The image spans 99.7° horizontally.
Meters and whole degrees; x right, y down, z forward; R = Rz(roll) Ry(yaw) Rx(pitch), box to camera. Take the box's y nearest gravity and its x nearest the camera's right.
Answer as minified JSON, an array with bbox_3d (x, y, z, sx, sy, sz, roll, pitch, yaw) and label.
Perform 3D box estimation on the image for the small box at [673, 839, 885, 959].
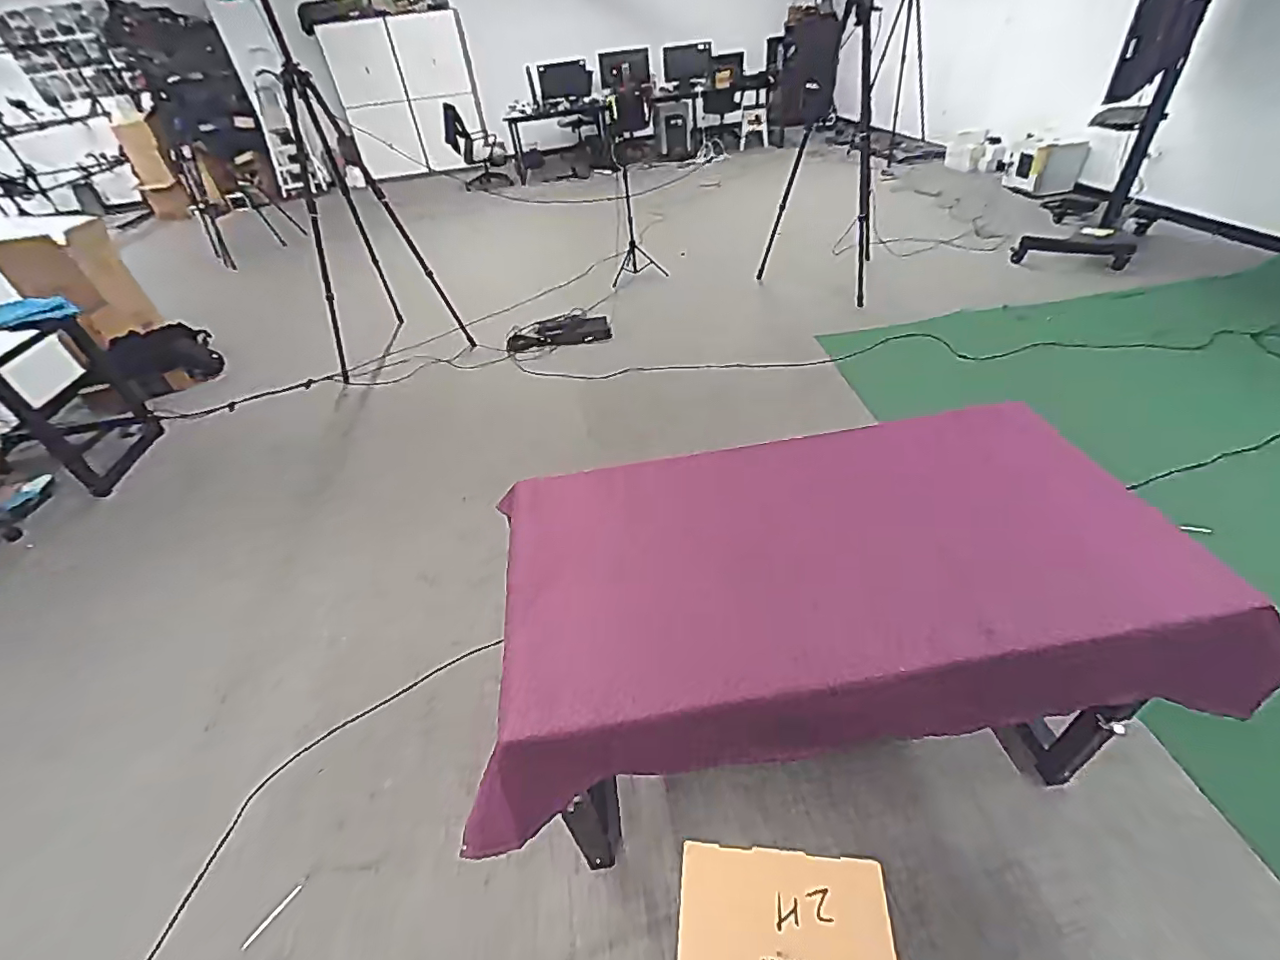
[{"bbox_3d":[0.118,0.444,0.467,0.168,0.176,0.179,-1,42,11],"label":"small box"}]
